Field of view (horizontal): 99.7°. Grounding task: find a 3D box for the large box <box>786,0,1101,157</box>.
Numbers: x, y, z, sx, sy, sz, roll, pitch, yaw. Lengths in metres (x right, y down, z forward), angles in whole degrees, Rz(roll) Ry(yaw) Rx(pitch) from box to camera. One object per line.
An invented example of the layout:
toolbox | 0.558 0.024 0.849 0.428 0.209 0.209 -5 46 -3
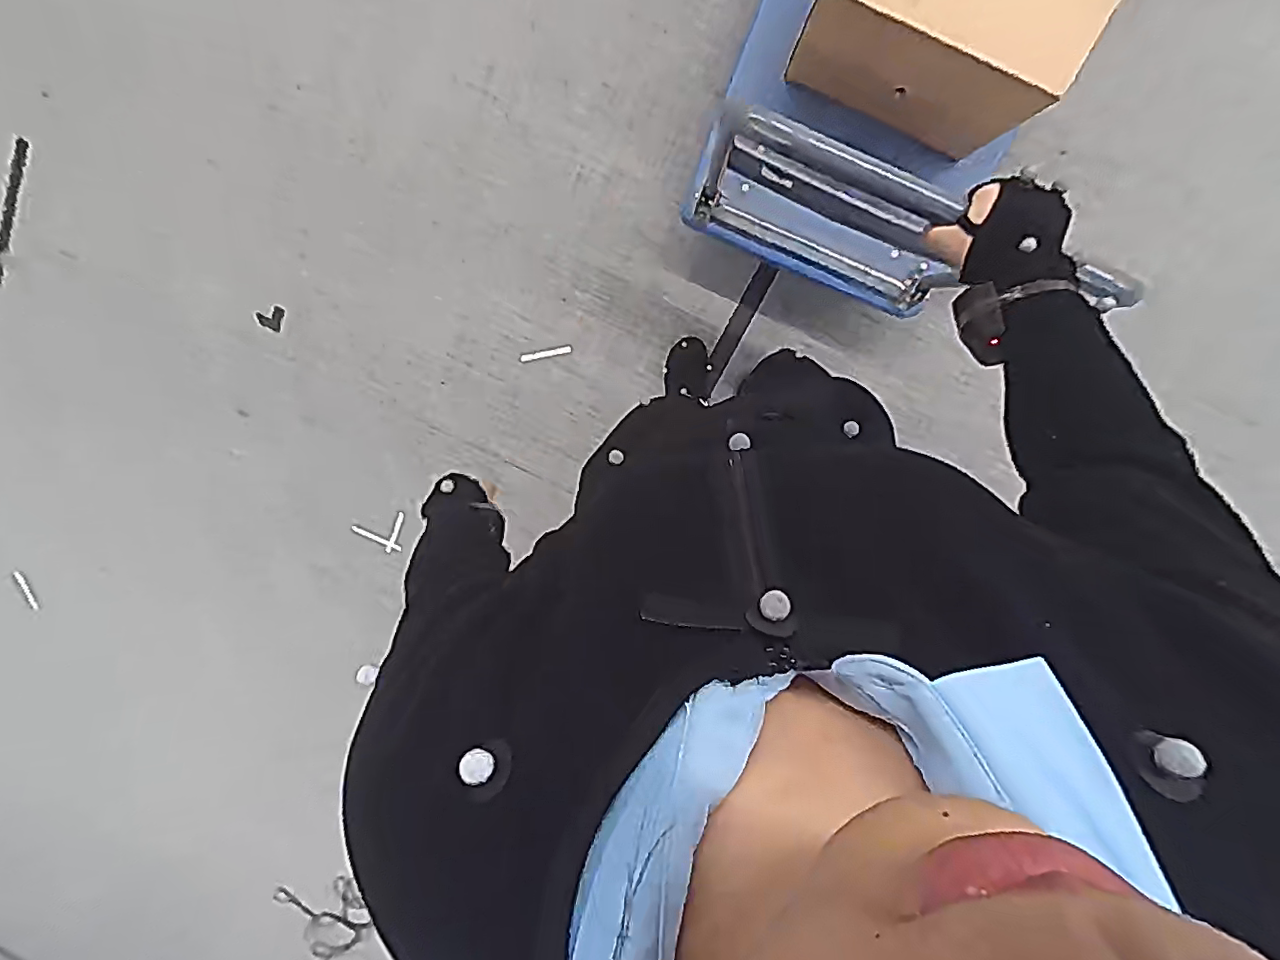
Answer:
large box | 0.525 -0.838 0.941 0.408 0.320 0.320 23 105 -2
